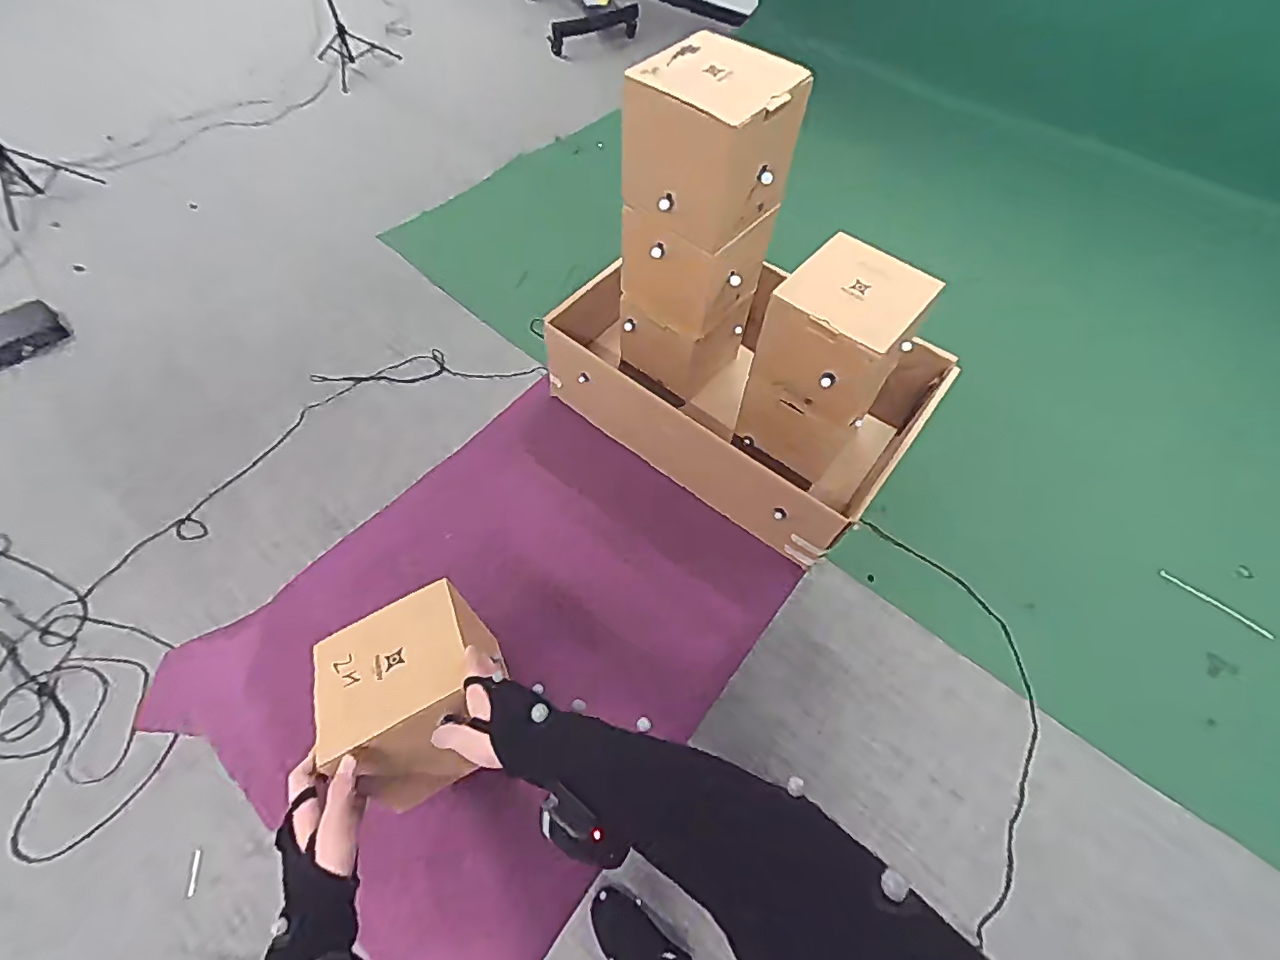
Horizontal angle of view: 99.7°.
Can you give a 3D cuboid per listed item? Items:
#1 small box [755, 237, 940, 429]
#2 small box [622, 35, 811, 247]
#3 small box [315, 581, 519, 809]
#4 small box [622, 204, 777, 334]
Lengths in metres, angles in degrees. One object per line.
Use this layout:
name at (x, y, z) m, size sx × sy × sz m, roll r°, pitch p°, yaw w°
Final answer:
small box at (0.286, -0.206, 0.785) m, size 0.168 × 0.176 × 0.179 m, roll 39°, pitch 66°, yaw 19°
small box at (0.093, -0.448, 0.732) m, size 0.179 × 0.176 × 0.168 m, roll 38°, pitch 65°, yaw 17°
small box at (-0.266, 0.265, 0.669) m, size 0.179 × 0.176 × 0.168 m, roll -27°, pitch 44°, yaw -11°
small box at (0.088, -0.364, 0.874) m, size 0.179 × 0.176 × 0.168 m, roll 38°, pitch 66°, yaw 18°
